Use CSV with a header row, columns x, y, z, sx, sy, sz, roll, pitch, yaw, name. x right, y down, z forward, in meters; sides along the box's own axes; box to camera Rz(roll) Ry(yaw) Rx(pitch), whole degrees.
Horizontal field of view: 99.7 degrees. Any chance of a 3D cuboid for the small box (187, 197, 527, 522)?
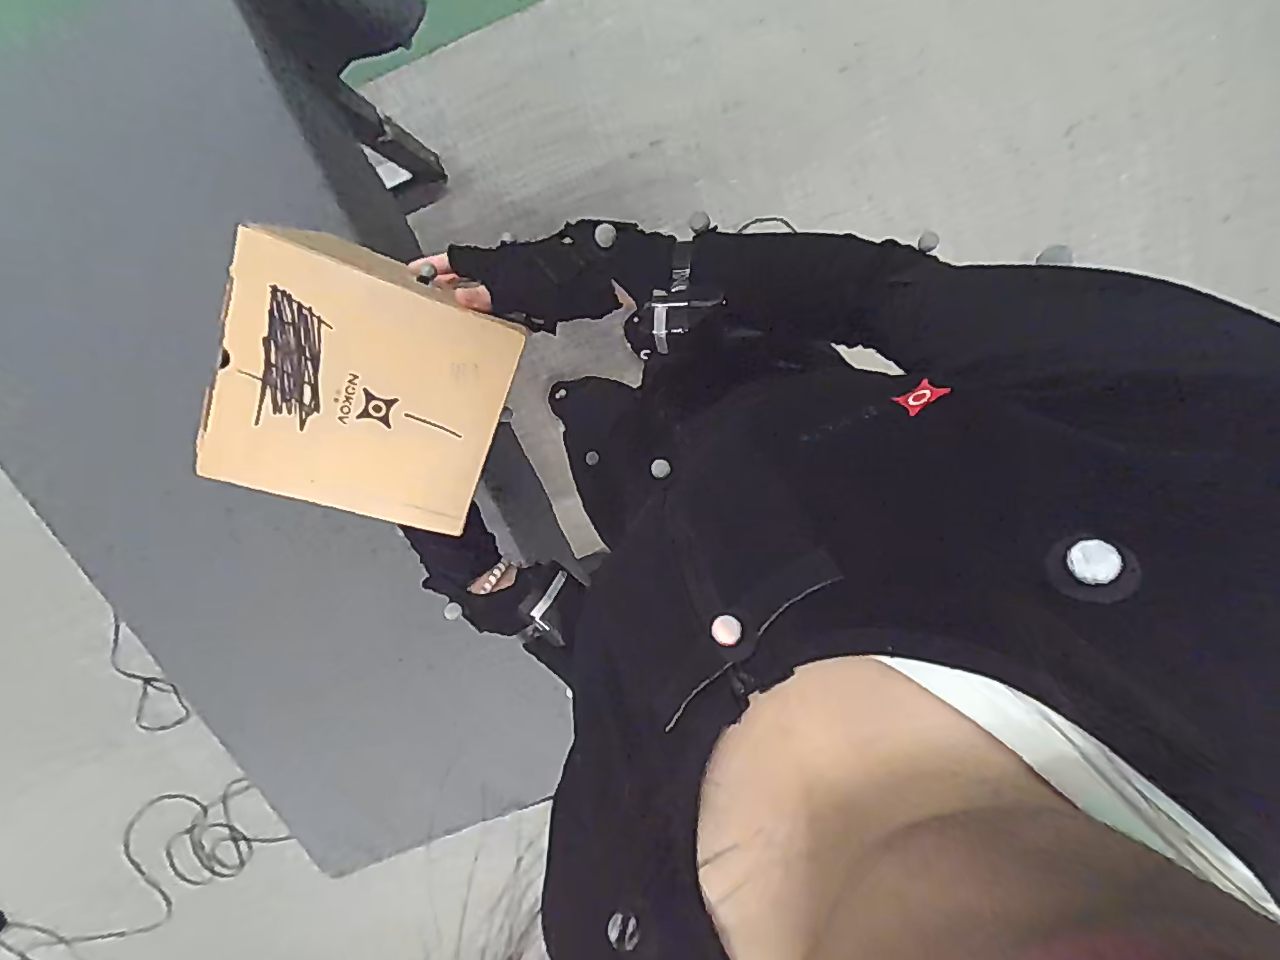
x,y,z,sx,sy,sz,roll,pitch,yaw,name
-0.202,-0.094,0.431,0.179,0.176,0.168,19,106,-20,small box
